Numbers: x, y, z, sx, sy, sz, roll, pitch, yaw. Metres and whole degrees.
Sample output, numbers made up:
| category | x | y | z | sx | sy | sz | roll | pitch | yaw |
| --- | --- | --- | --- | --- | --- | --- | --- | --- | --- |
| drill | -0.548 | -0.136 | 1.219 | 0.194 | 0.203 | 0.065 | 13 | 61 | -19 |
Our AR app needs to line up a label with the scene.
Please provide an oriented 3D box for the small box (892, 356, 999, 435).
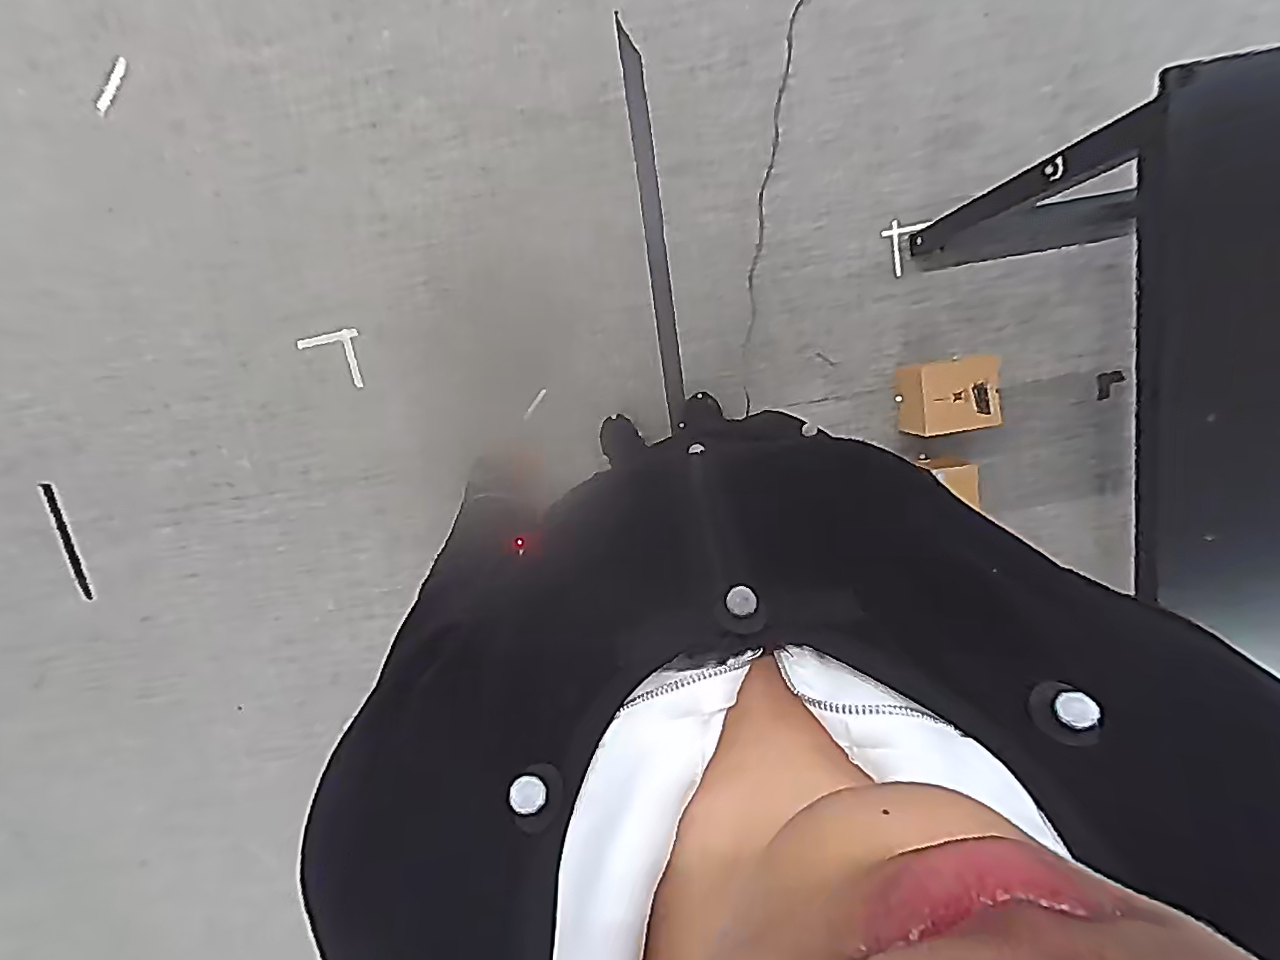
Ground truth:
| category | x | y | z | sx | sy | sz | roll | pitch | yaw |
| --- | --- | --- | --- | --- | --- | --- | --- | --- | --- |
| small box | 0.757 | -0.213 | 1.349 | 0.179 | 0.176 | 0.168 | -9 | 99 | 5 |

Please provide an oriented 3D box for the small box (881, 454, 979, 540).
| category | x | y | z | sx | sy | sz | roll | pitch | yaw |
| --- | --- | --- | --- | --- | --- | --- | --- | --- | --- |
| small box | 0.743 | 0.039 | 1.398 | 0.168 | 0.176 | 0.179 | -9 | 99 | 3 |
